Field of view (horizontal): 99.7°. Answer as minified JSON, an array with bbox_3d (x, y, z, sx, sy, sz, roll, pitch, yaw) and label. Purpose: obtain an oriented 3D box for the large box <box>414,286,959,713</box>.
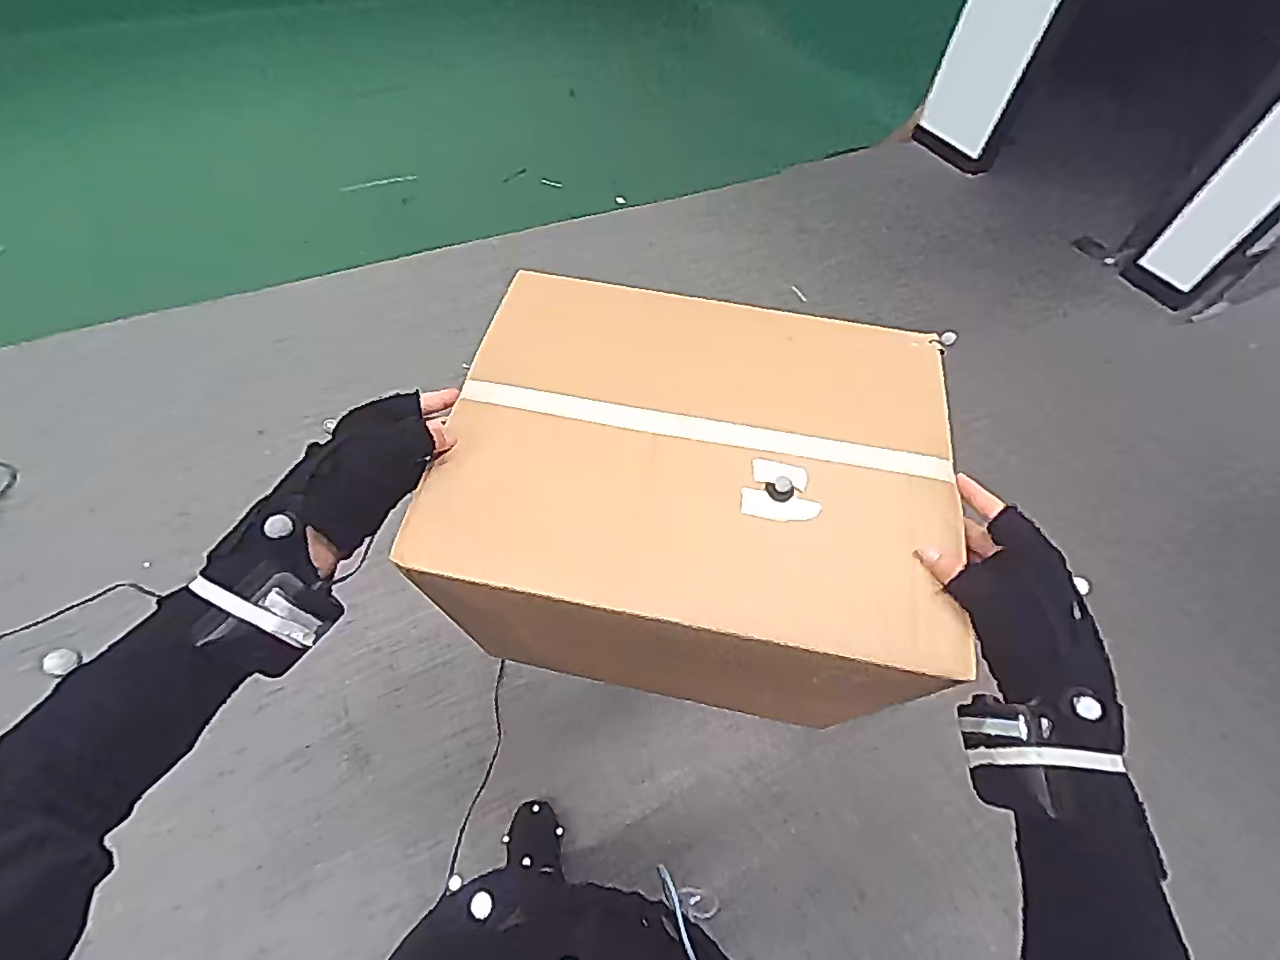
[{"bbox_3d":[0.045,0.038,0.586,0.408,0.320,0.320,10,61,3],"label":"large box"}]
